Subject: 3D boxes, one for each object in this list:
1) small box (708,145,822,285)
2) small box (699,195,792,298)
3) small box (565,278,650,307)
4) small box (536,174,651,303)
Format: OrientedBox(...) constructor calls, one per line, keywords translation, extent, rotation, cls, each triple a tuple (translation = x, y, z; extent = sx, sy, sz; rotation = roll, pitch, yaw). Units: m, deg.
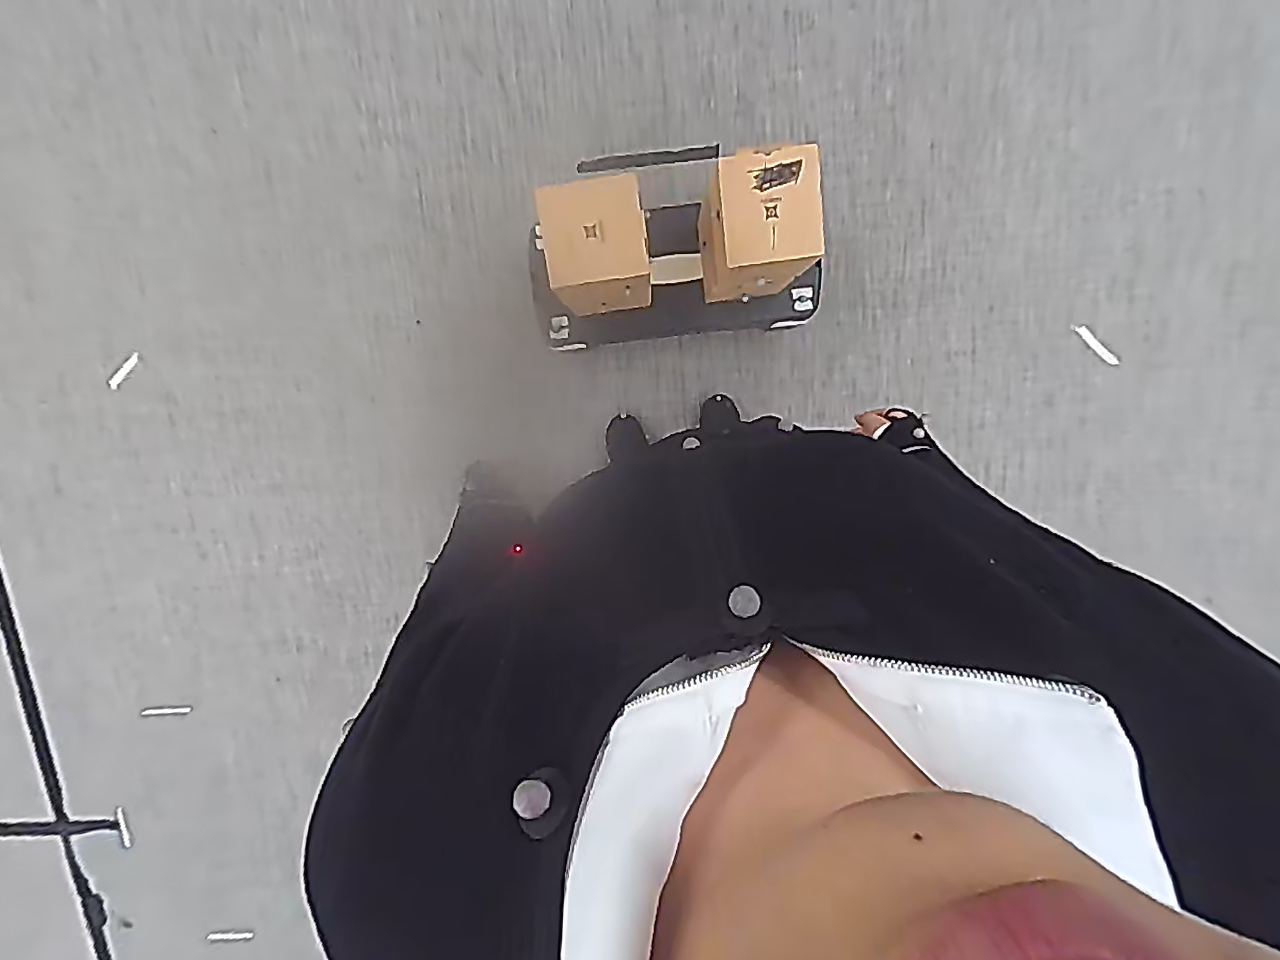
OrientedBox(translation=(0.218, -0.468, 0.979), extent=(0.168, 0.176, 0.179), rotation=(-7, 100, 3), cls="small box")
OrientedBox(translation=(0.215, -0.490, 1.142), extent=(0.168, 0.176, 0.179), rotation=(-7, 99, 3), cls="small box")
OrientedBox(translation=(-0.074, -0.460, 1.155), extent=(0.179, 0.176, 0.168), rotation=(-8, 99, 3), cls="small box")
OrientedBox(translation=(-0.078, -0.432, 0.994), extent=(0.179, 0.176, 0.168), rotation=(-8, 98, 3), cls="small box")
